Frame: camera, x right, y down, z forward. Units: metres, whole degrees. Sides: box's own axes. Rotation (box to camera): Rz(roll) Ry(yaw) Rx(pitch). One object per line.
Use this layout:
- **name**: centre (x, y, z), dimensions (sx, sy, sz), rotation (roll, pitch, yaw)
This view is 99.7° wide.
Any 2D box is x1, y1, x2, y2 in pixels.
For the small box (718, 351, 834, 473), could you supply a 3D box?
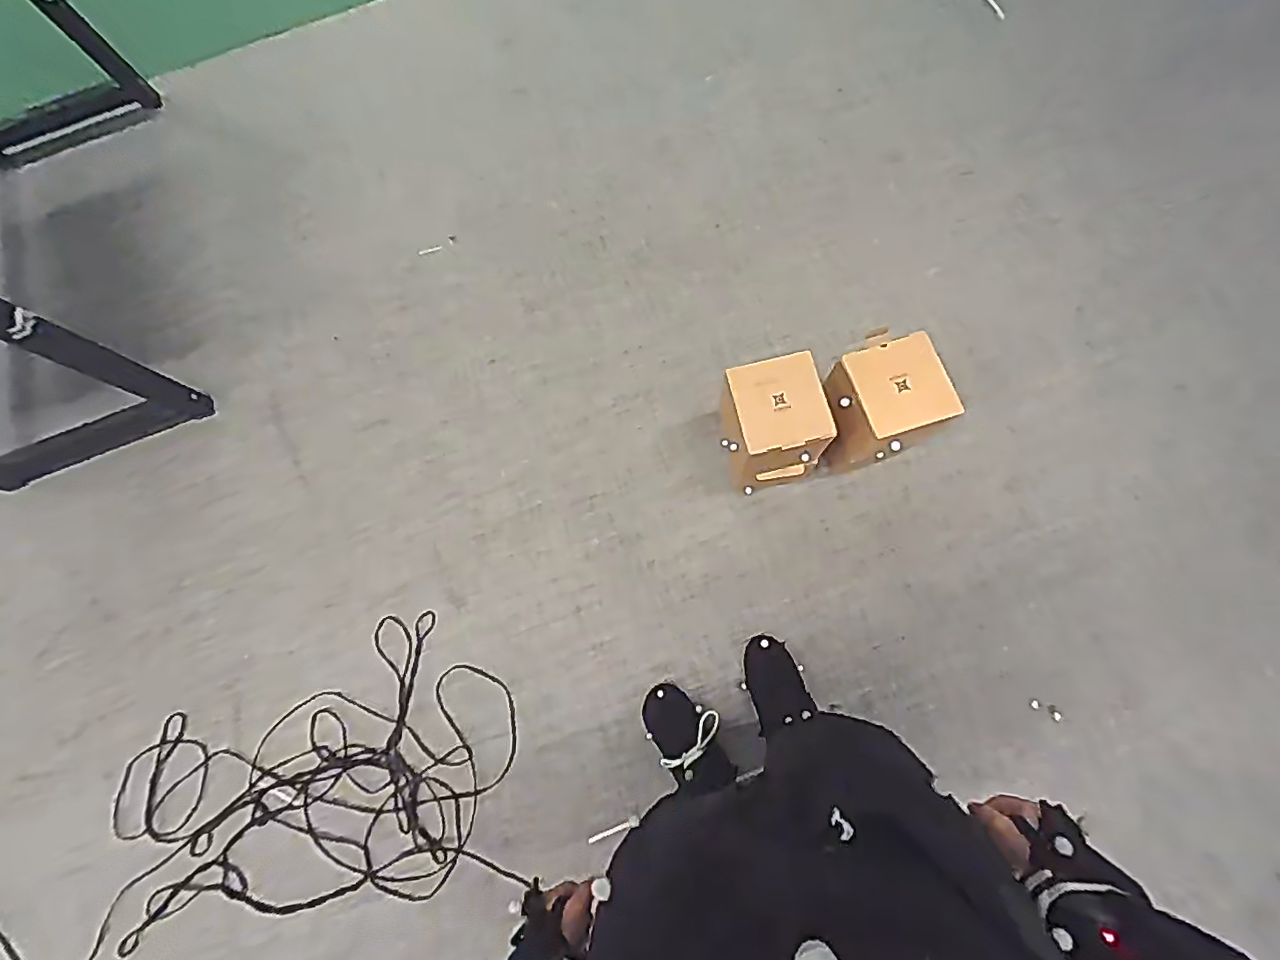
- **small box**: centre (0.258, -0.123, 1.068), dimensions (0.168, 0.176, 0.179), rotation (-13, 74, -1)

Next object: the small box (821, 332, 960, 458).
- **small box**: centre (0.477, -0.155, 1.060), dimensions (0.168, 0.176, 0.179), rotation (-17, 75, 0)

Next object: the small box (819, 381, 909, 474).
- **small box**: centre (0.495, -0.132, 1.221), dimensions (0.168, 0.176, 0.179), rotation (-17, 75, -1)
